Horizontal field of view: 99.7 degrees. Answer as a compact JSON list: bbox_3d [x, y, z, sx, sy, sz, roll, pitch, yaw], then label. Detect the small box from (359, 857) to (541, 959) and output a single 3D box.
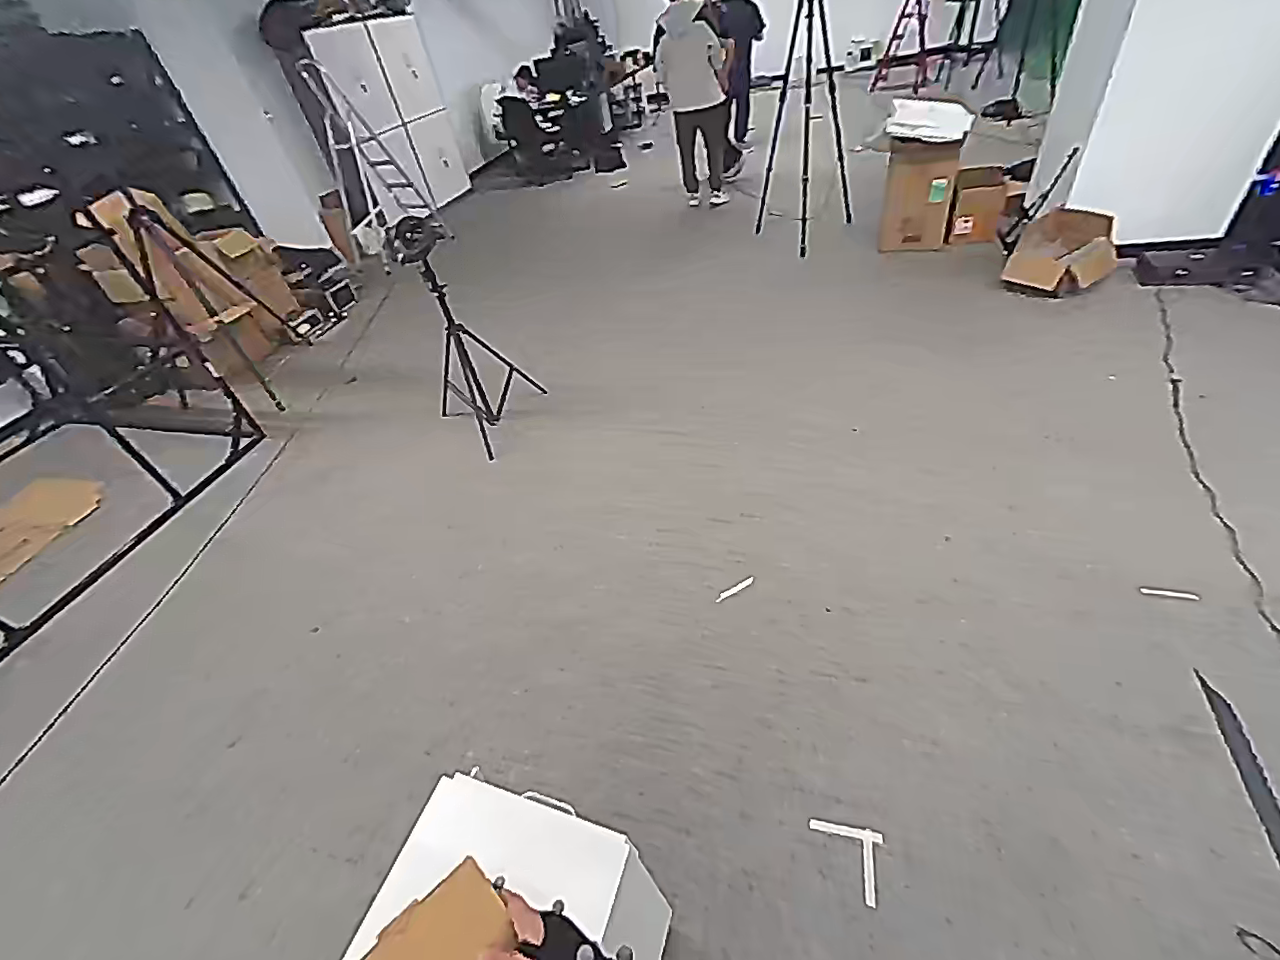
[{"bbox_3d":[-0.190,0.548,0.564,0.179,0.176,0.168,39,50,26],"label":"small box"}]
